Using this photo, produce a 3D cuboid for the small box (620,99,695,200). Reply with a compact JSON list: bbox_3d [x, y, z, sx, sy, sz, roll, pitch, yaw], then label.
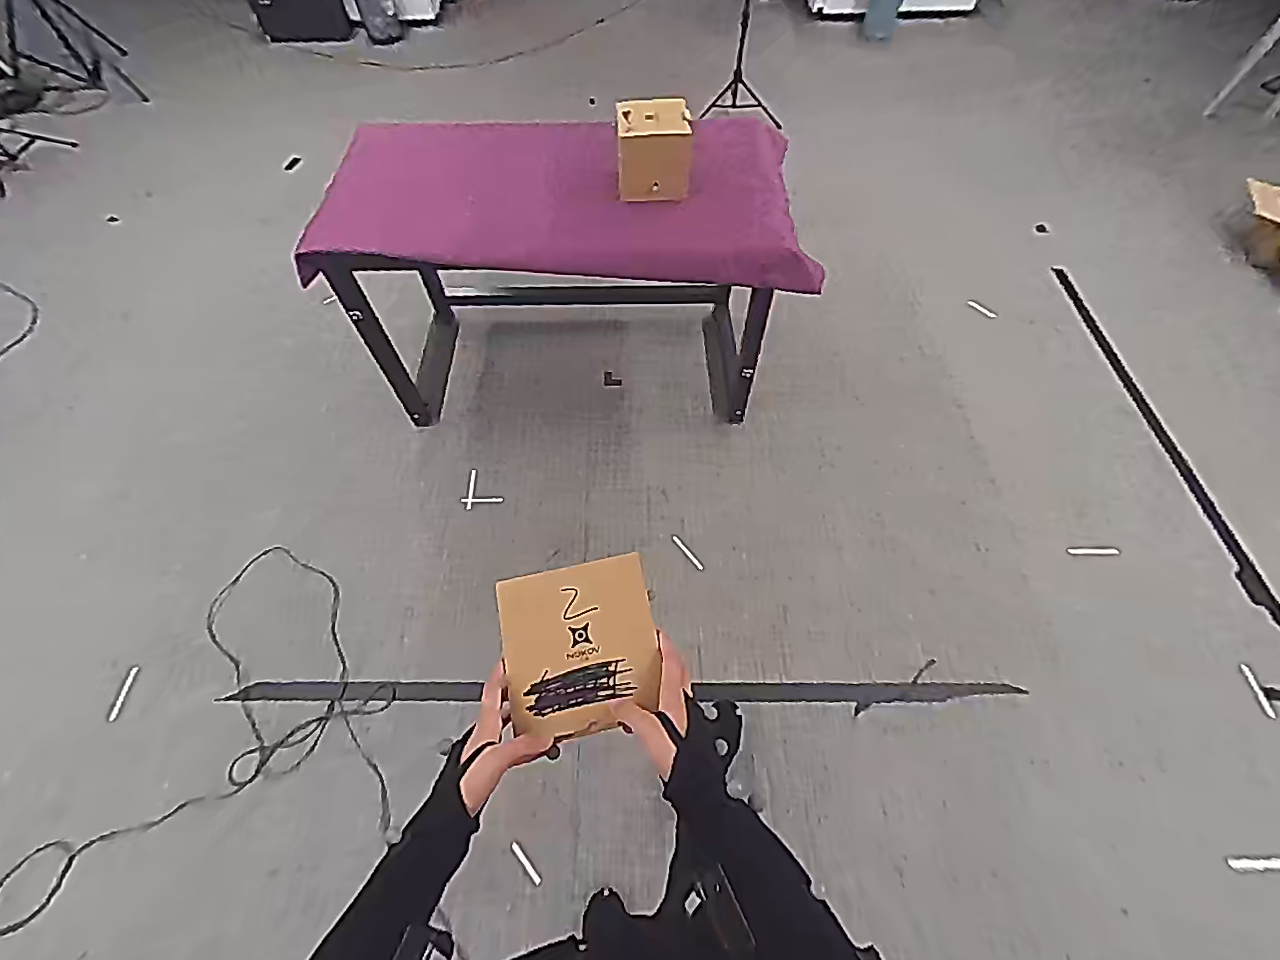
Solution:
[{"bbox_3d":[0.040,-0.842,1.383,0.179,0.176,0.168,-3,59,-2],"label":"small box"}]
